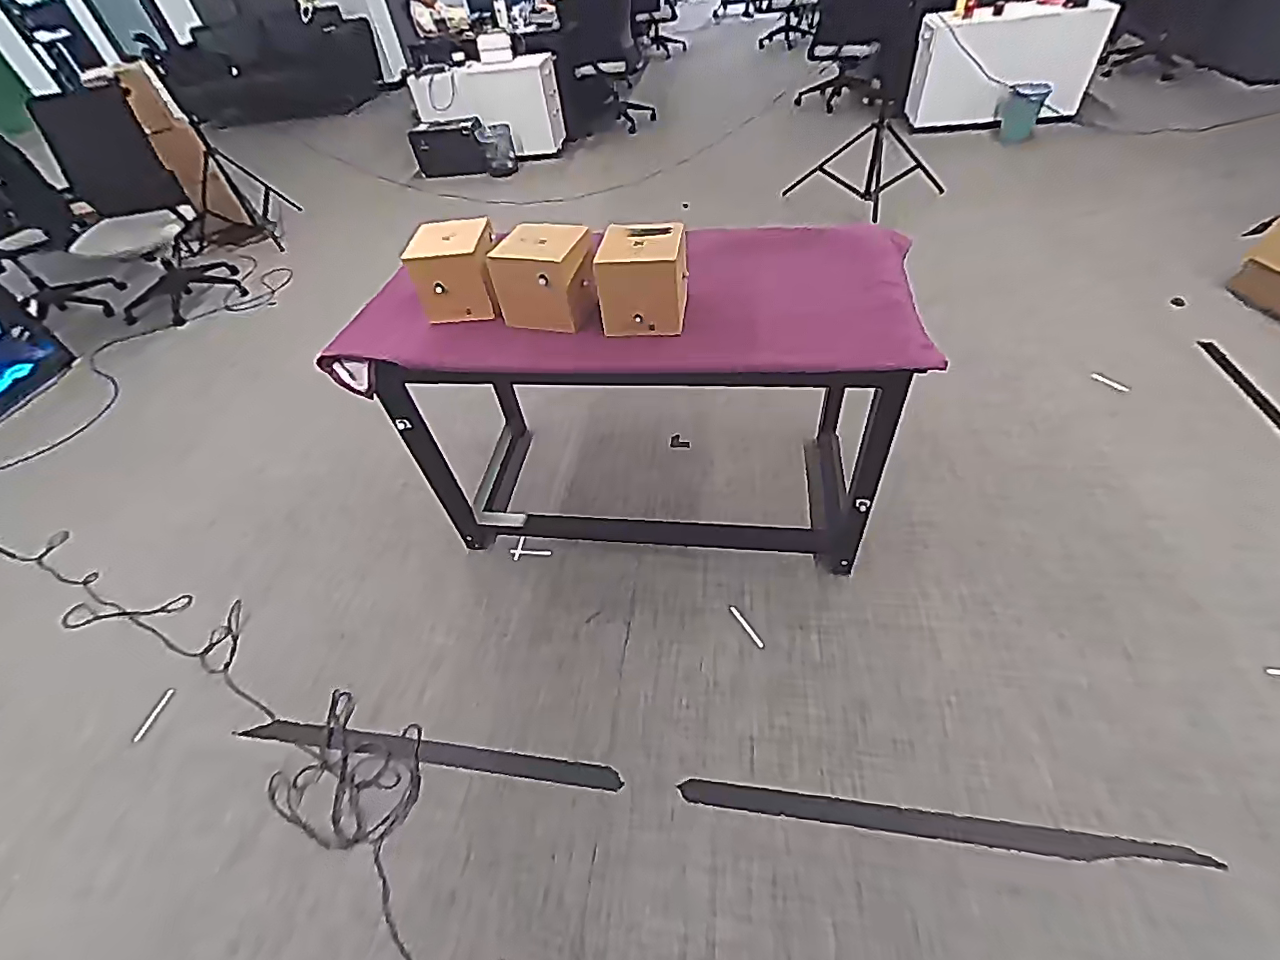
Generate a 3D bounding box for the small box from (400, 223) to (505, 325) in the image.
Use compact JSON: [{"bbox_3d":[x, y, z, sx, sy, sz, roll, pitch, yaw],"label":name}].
[{"bbox_3d":[-0.432,-0.480,1.280,0.168,0.176,0.179,-4,48,4],"label":"small box"}]
